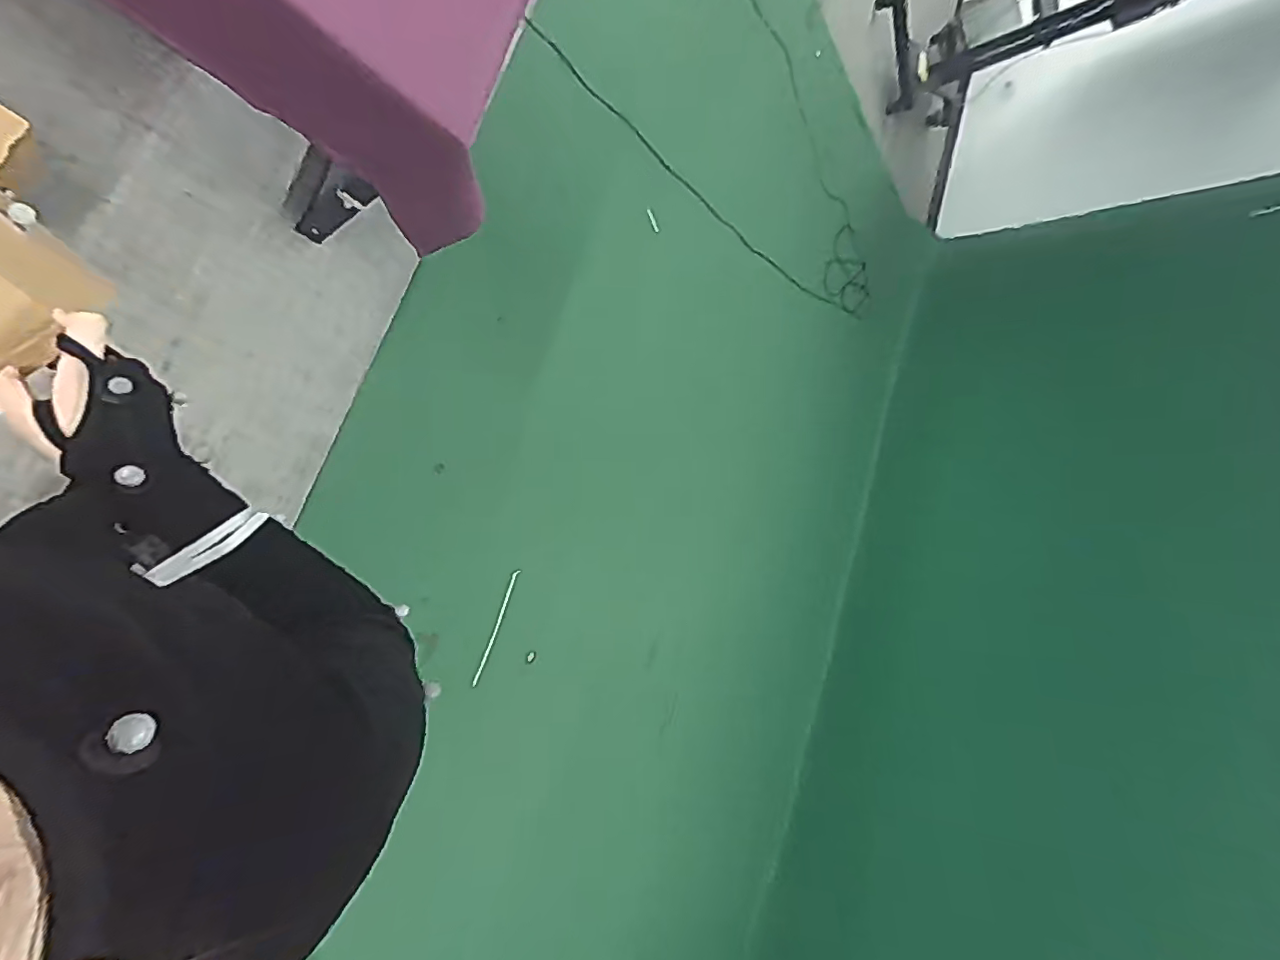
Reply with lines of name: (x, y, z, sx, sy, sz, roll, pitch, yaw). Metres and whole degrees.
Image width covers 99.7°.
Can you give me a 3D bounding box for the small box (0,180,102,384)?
small box: (-0.553, -0.149, 0.393, 0.179, 0.176, 0.168, -40, 136, -9)
